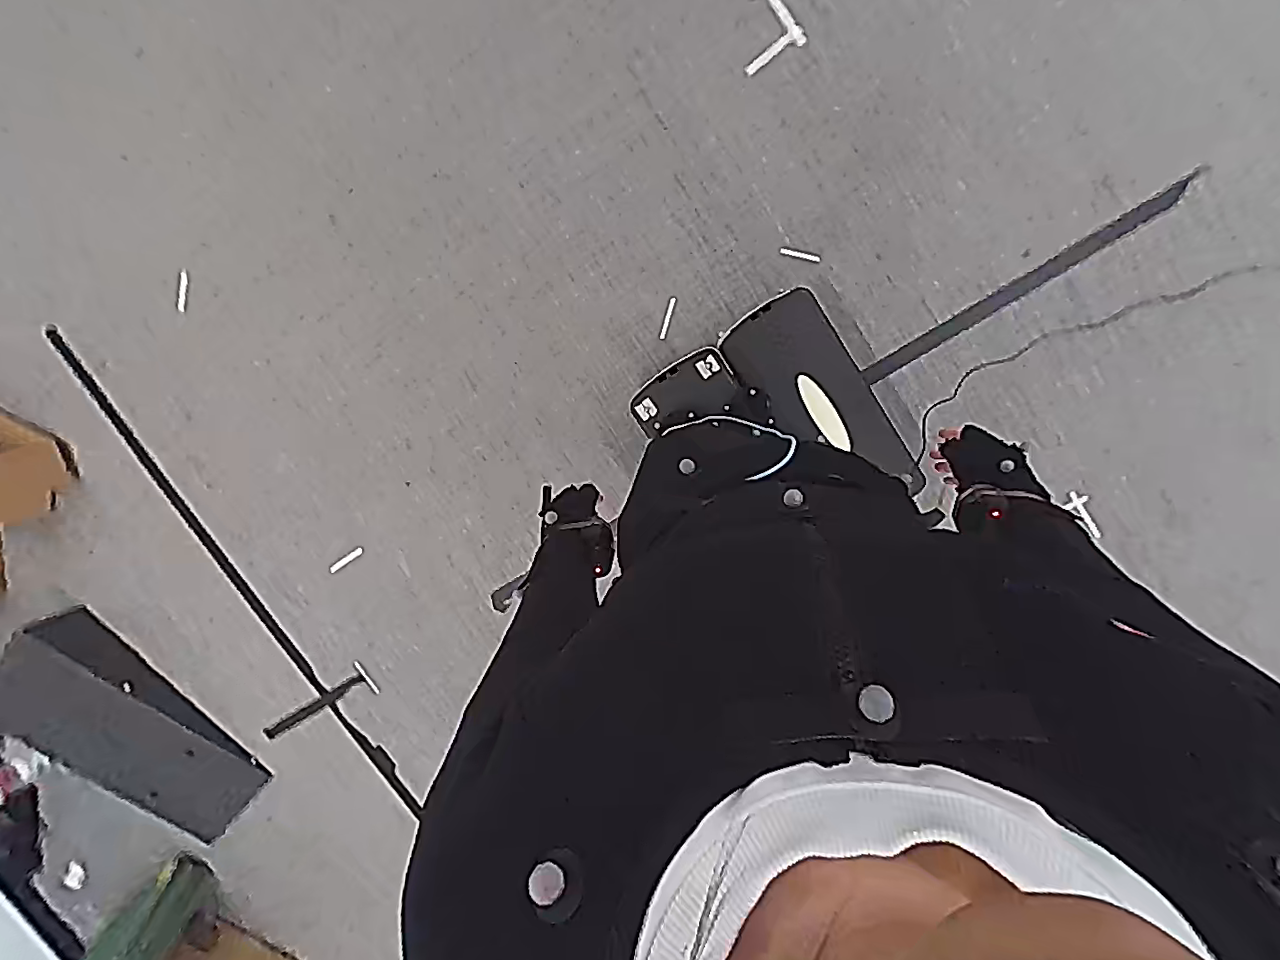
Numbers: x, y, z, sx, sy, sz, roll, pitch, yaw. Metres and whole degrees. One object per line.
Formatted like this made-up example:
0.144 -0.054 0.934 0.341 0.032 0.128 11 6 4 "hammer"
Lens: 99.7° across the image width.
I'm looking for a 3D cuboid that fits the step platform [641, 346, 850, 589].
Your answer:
0.293 -0.033 1.524 0.286 0.204 0.684 -34 94 12 "step platform"
